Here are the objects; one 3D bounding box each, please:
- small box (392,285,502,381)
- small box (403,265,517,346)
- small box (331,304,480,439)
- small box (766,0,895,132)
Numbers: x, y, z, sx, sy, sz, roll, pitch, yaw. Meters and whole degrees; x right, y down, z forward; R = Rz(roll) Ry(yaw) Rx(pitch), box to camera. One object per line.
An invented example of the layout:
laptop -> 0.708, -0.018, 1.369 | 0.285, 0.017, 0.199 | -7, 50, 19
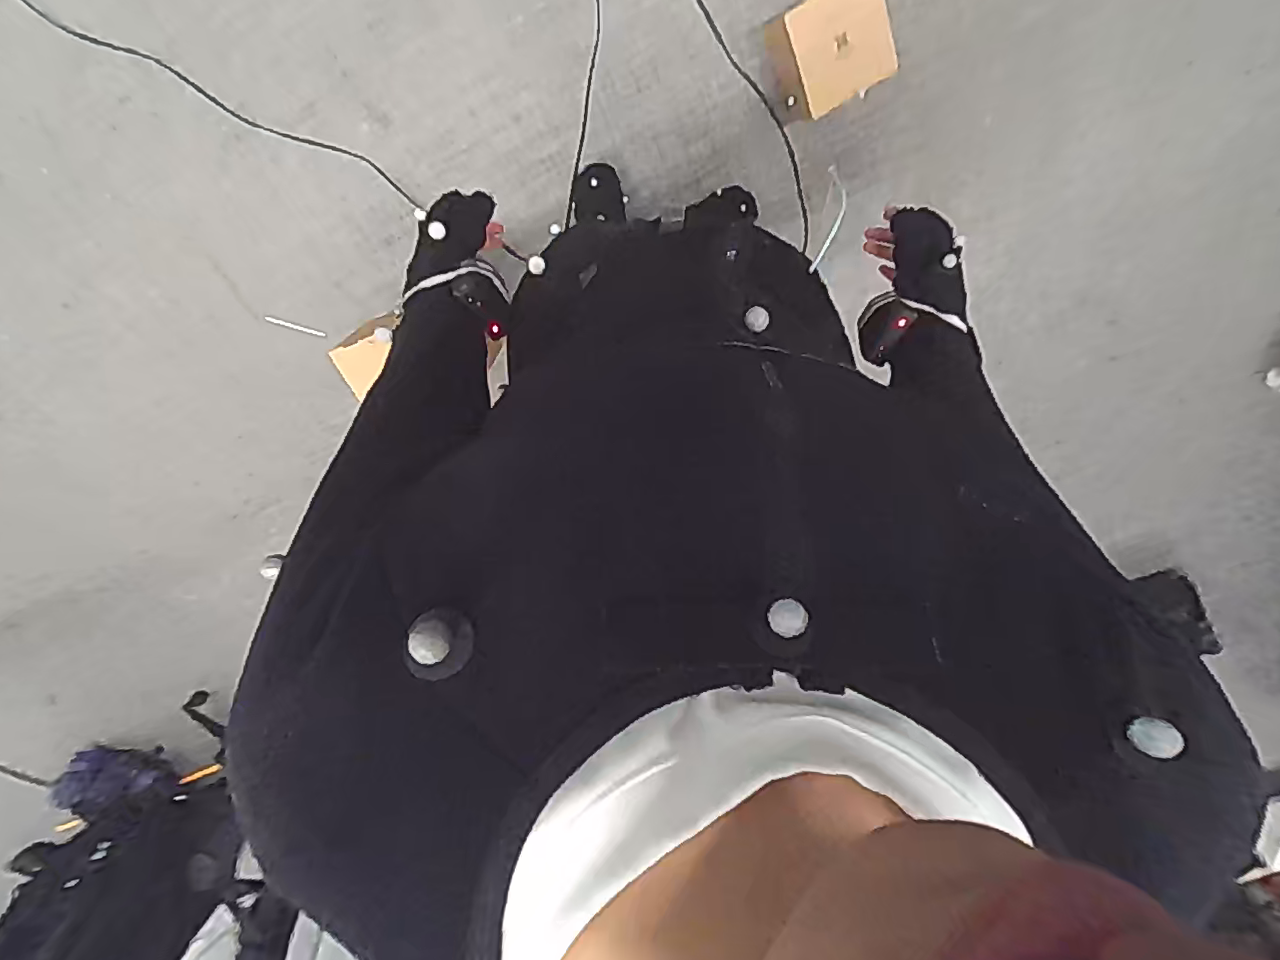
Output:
small box -> -0.419, -0.297, 1.153 | 0.168, 0.176, 0.179 | -20, 122, 11
small box -> -0.420, -0.393, 1.289 | 0.168, 0.176, 0.179 | -21, 120, 16
small box -> -0.425, -0.206, 1.018 | 0.168, 0.176, 0.179 | -15, 121, 9
small box -> 0.359, -0.804, 1.038 | 0.168, 0.176, 0.179 | -24, 120, 13
